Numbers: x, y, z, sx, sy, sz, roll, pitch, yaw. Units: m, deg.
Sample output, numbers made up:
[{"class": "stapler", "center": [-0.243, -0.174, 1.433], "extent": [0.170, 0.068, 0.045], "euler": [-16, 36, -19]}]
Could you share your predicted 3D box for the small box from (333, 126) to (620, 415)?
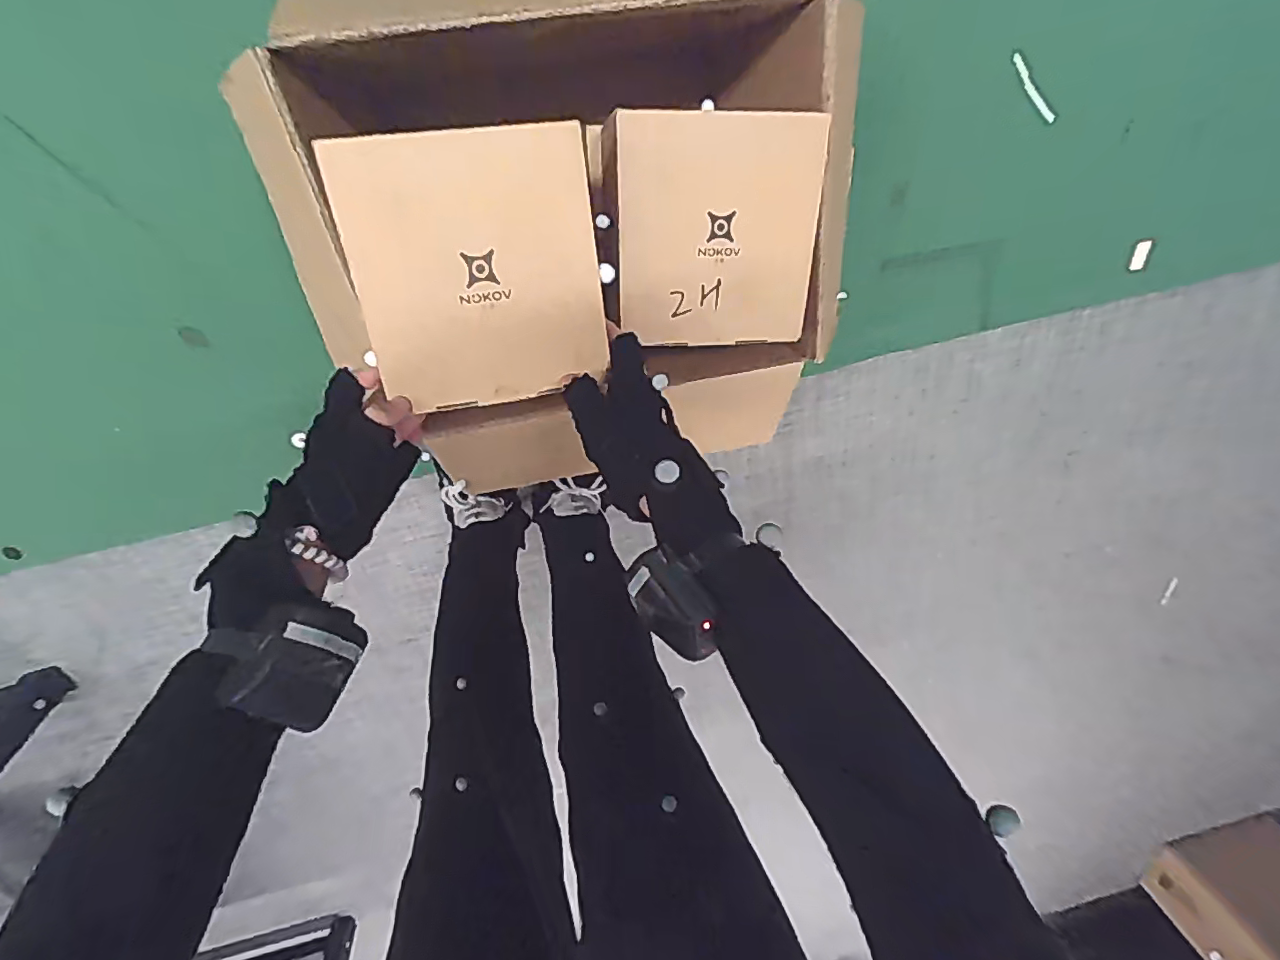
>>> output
[{"class": "small box", "center": [-0.121, -0.167, 0.443], "extent": [0.168, 0.176, 0.179], "euler": [-10, 113, -11]}]
